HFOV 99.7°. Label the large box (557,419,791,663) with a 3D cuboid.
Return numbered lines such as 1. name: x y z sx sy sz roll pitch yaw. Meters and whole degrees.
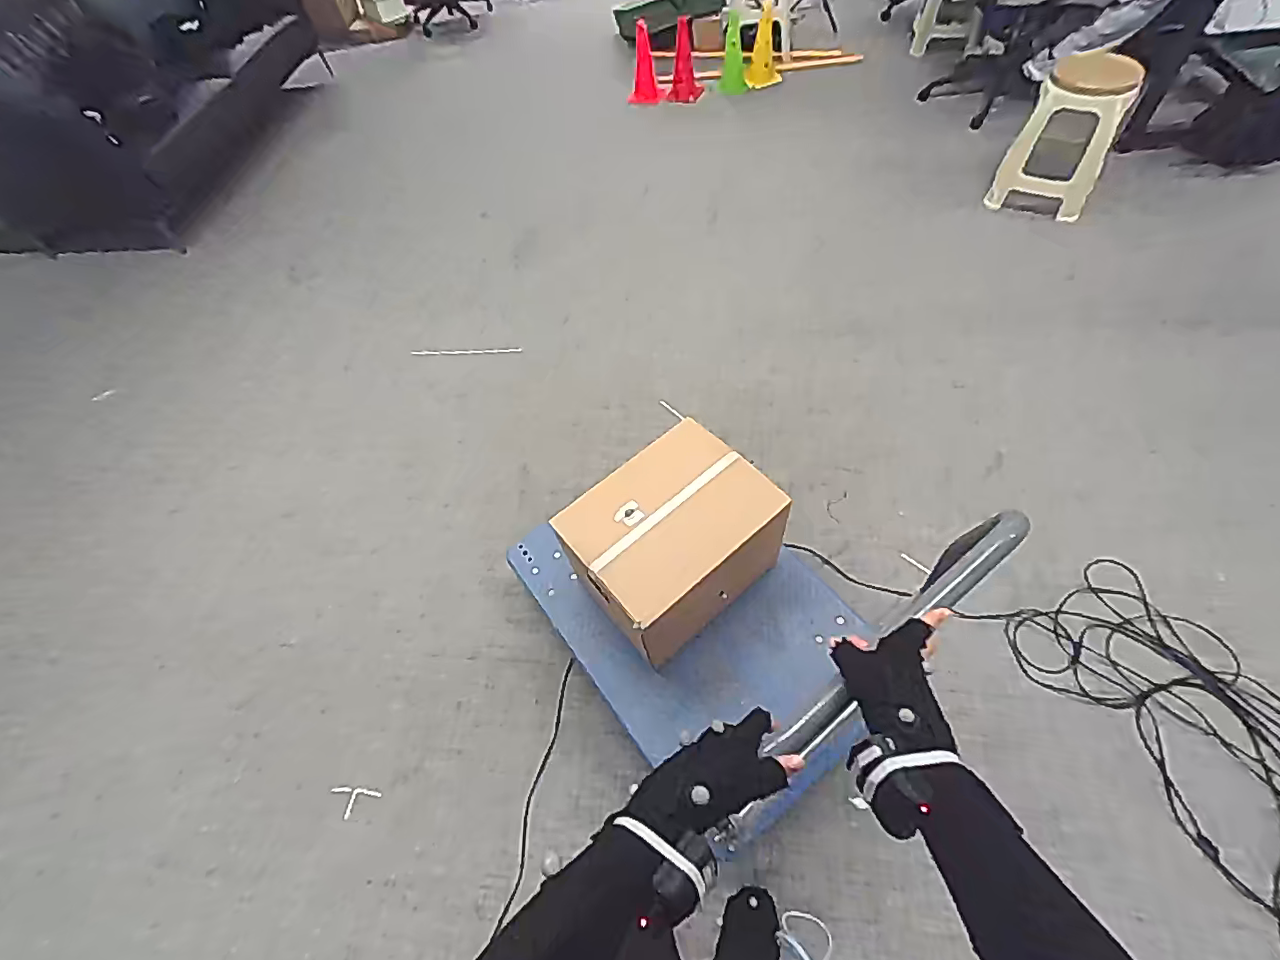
1. large box: 0.085 0.144 1.248 0.408 0.320 0.320 -38 60 -16
